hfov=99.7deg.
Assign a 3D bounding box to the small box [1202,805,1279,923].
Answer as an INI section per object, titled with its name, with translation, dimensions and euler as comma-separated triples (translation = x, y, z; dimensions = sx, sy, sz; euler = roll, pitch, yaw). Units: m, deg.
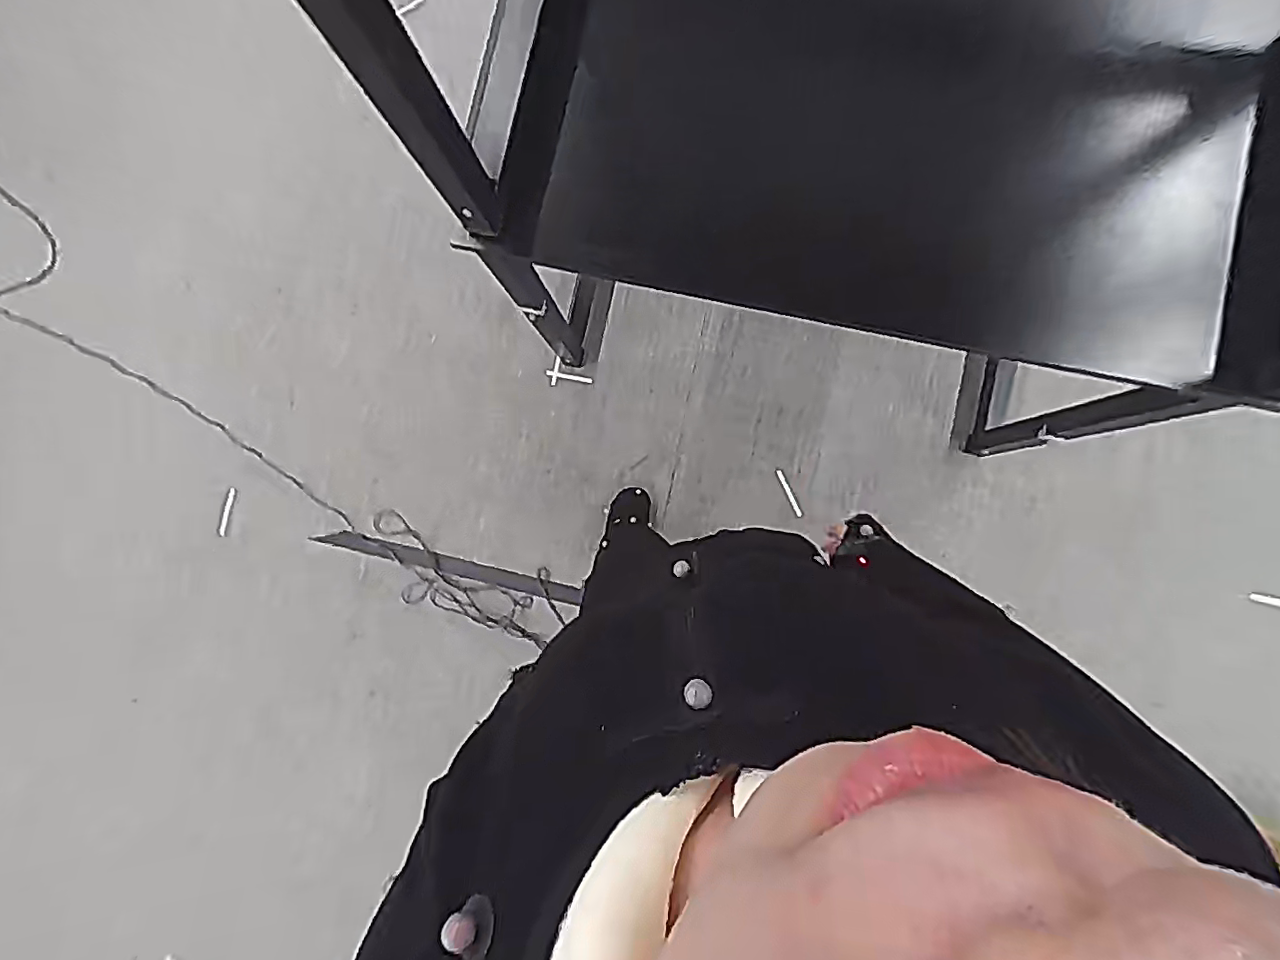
[small box]
translation = 1.503, 0.918, 1.278
dimensions = 0.168, 0.176, 0.179
euler = 15, 89, 4
